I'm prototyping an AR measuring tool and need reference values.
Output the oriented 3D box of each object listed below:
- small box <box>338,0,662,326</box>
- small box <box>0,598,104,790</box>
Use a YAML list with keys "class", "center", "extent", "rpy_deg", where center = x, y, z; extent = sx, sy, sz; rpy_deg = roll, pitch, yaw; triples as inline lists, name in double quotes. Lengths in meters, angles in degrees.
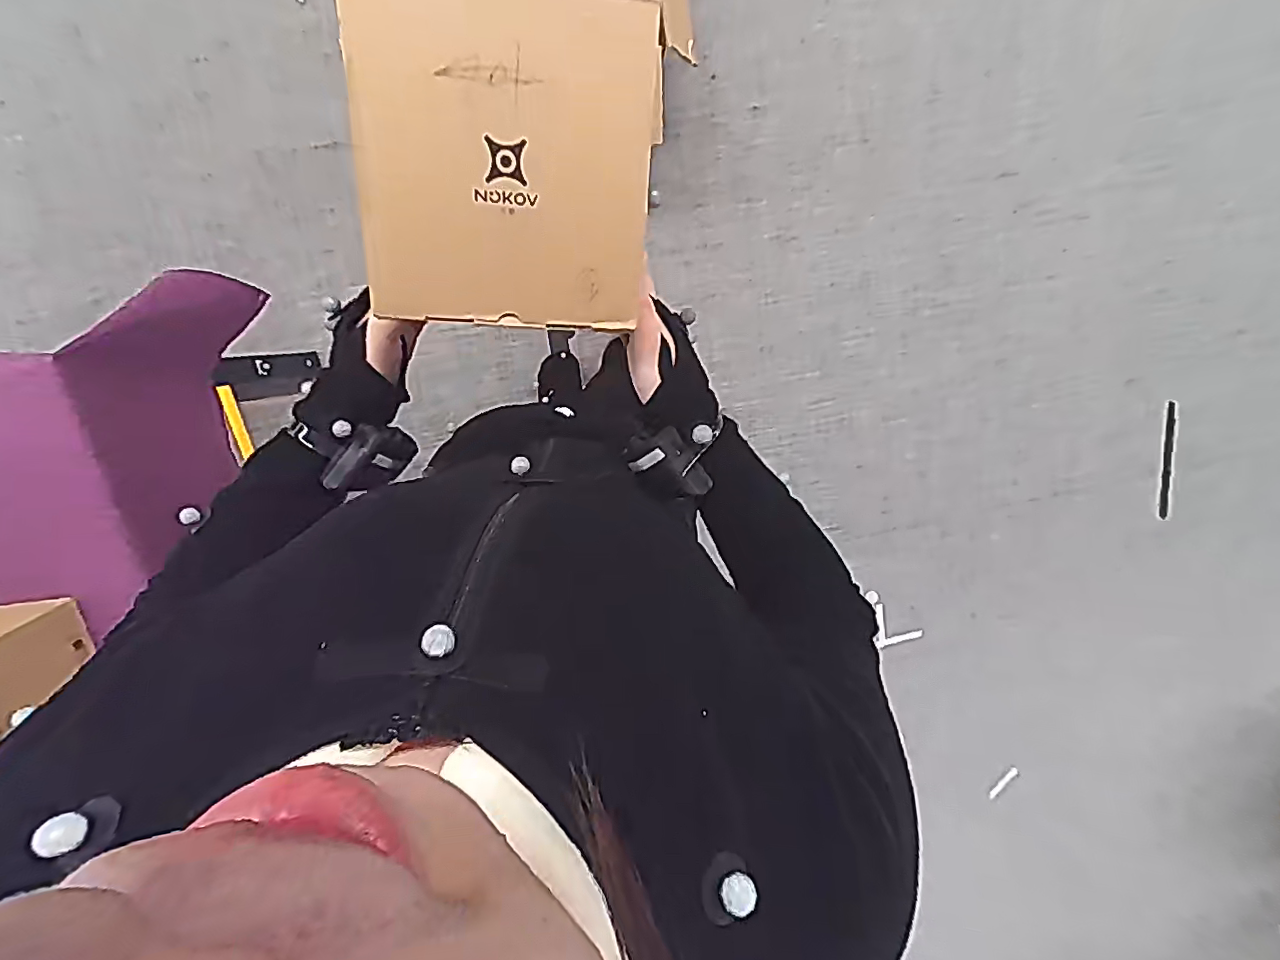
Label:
- class: "small box"
  center: [-0.085, -0.214, 0.378]
  extent: [0.168, 0.176, 0.179]
  rpy_deg: [1, 113, -8]
- class: "small box"
  center: [-0.806, 0.255, 0.644]
  extent: [0.179, 0.176, 0.168]
  rpy_deg: [-6, 105, -4]
